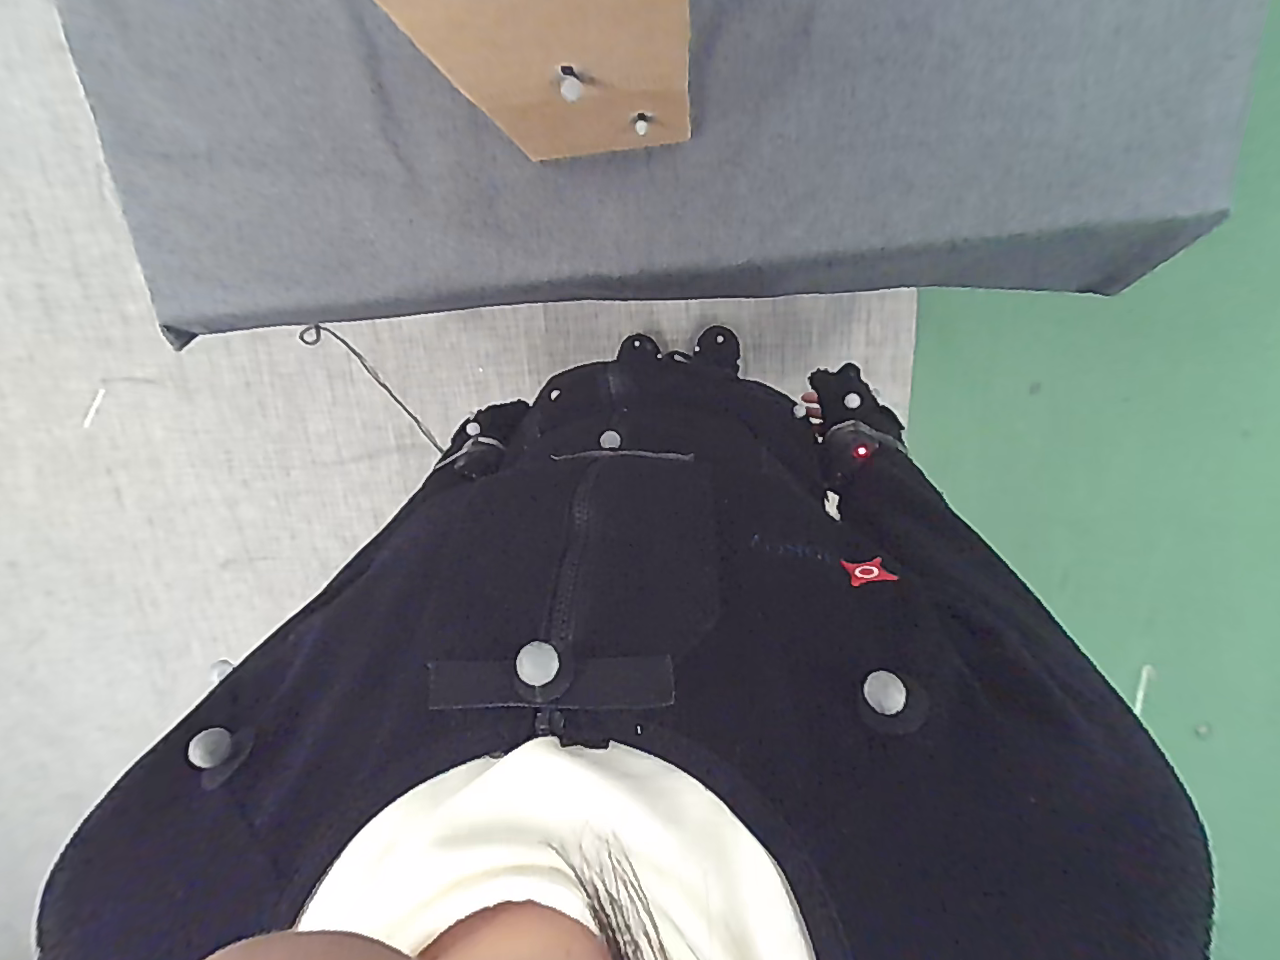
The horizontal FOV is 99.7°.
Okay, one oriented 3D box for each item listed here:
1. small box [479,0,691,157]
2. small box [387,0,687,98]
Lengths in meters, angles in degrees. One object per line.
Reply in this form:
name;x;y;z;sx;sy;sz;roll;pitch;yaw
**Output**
small box;-0.046;-0.417;0.491;0.179;0.176;0.168;-4;105;8
small box;-0.059;-0.368;0.335;0.179;0.176;0.168;-3;105;5
